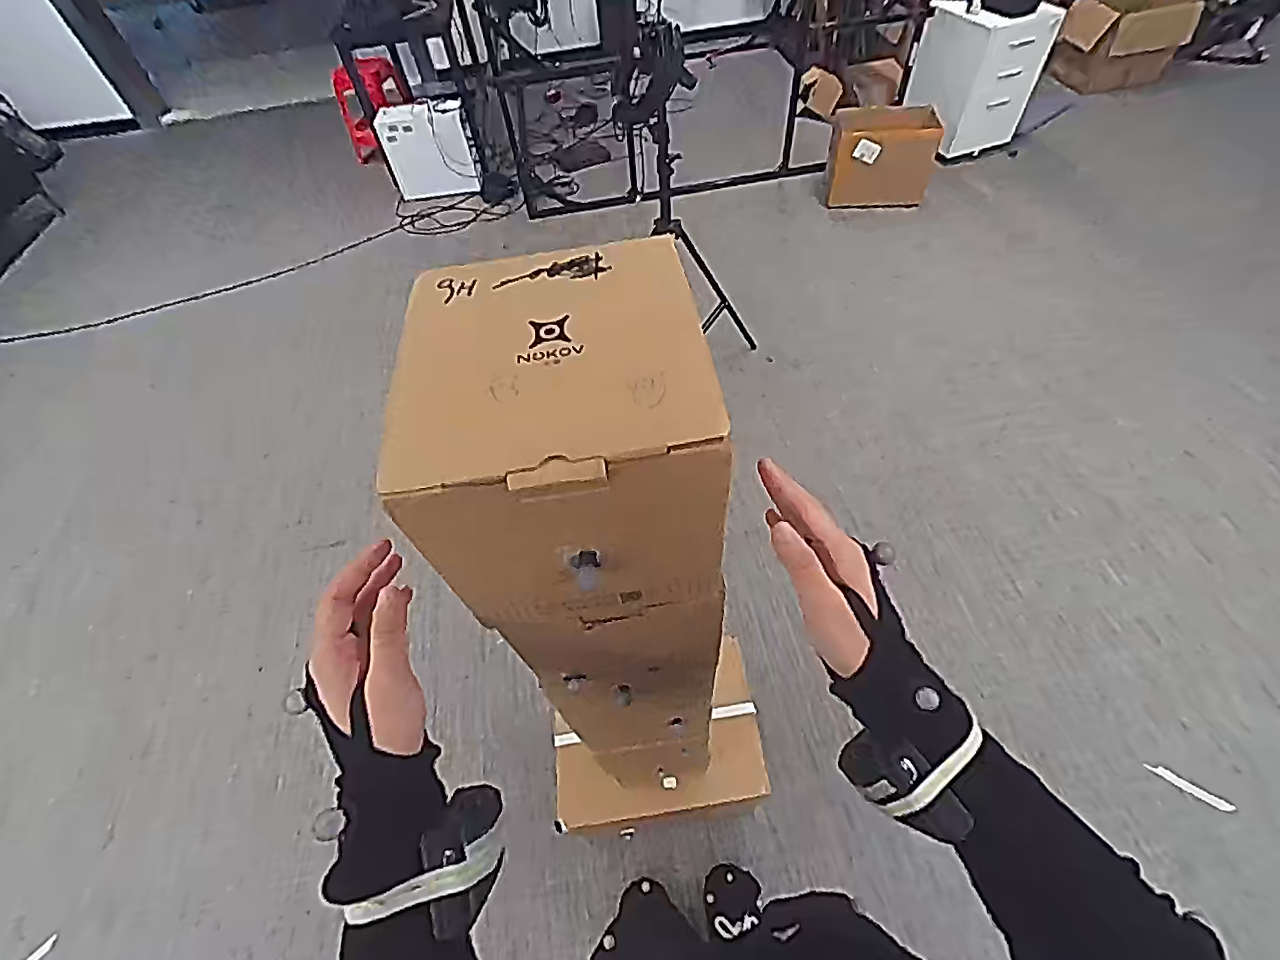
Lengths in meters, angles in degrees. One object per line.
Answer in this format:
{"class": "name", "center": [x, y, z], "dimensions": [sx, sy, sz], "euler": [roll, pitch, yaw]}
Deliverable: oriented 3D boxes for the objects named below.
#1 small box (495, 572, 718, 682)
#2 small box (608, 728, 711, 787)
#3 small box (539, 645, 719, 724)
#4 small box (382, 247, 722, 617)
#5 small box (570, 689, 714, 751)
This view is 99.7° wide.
{"class": "small box", "center": [-0.024, 0.074, 0.495], "dimensions": [0.168, 0.176, 0.179], "euler": [-8, 53, 0]}
{"class": "small box", "center": [0.029, 0.464, 1.018], "dimensions": [0.179, 0.176, 0.168], "euler": [-11, 54, -3]}
{"class": "small box", "center": [-0.013, 0.172, 0.626], "dimensions": [0.179, 0.176, 0.168], "euler": [-8, 54, 0]}
{"class": "small box", "center": [-0.043, -0.021, 0.362], "dimensions": [0.168, 0.176, 0.179], "euler": [-9, 55, -1]}
{"class": "small box", "center": [0.000, 0.268, 0.756], "dimensions": [0.179, 0.176, 0.168], "euler": [-8, 53, 0]}
